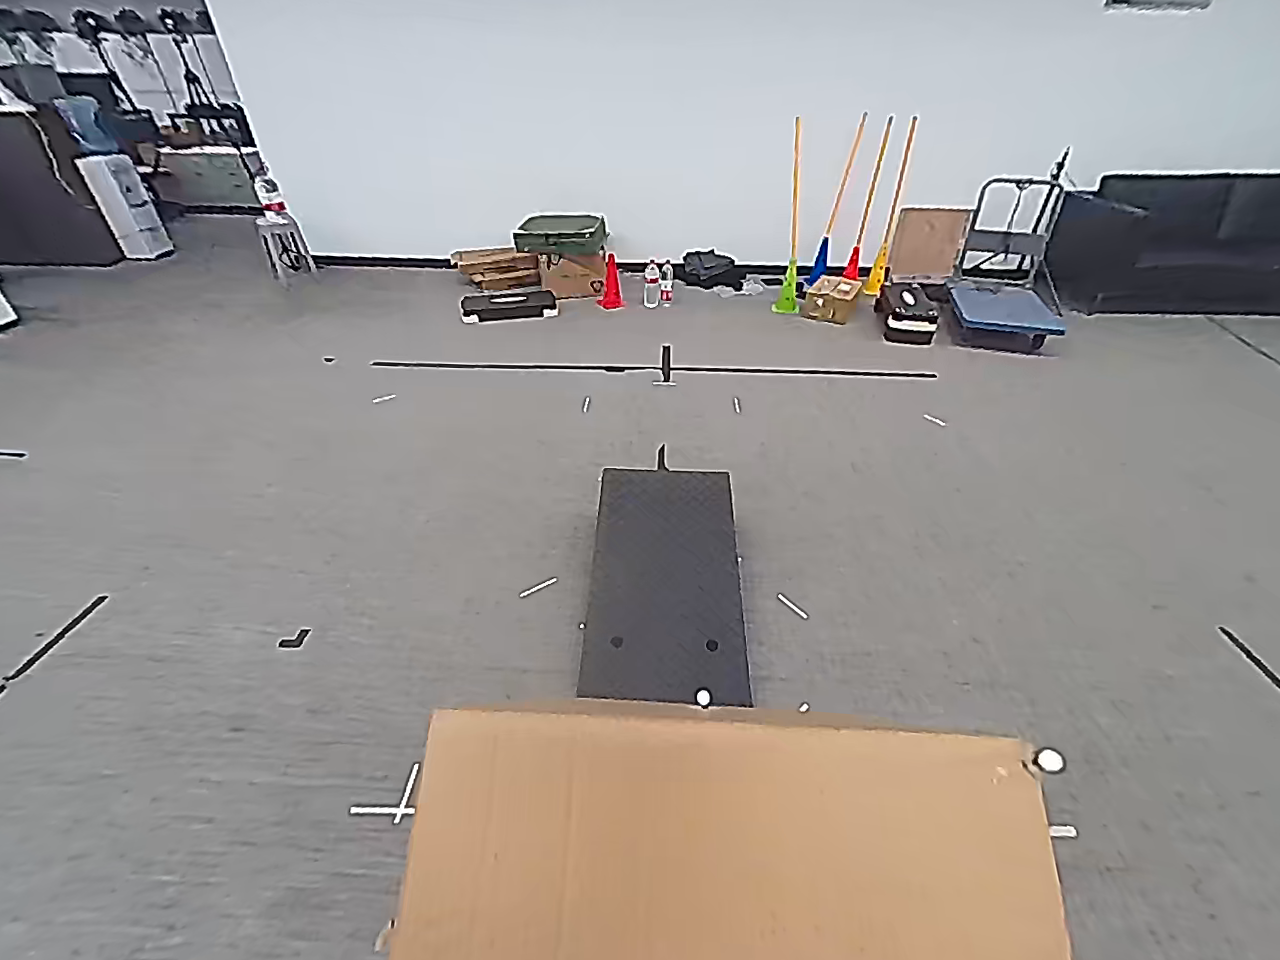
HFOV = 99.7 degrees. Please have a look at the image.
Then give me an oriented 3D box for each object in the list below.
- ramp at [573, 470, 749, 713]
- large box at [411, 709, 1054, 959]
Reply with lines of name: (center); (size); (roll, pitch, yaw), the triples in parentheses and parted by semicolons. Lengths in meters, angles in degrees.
ramp: (0.072, 0.344, 1.762); (0.509, 0.206, 0.991); (2, 38, -1)
large box: (0.053, 0.371, 0.464); (0.408, 0.320, 0.320); (2, 71, 1)
